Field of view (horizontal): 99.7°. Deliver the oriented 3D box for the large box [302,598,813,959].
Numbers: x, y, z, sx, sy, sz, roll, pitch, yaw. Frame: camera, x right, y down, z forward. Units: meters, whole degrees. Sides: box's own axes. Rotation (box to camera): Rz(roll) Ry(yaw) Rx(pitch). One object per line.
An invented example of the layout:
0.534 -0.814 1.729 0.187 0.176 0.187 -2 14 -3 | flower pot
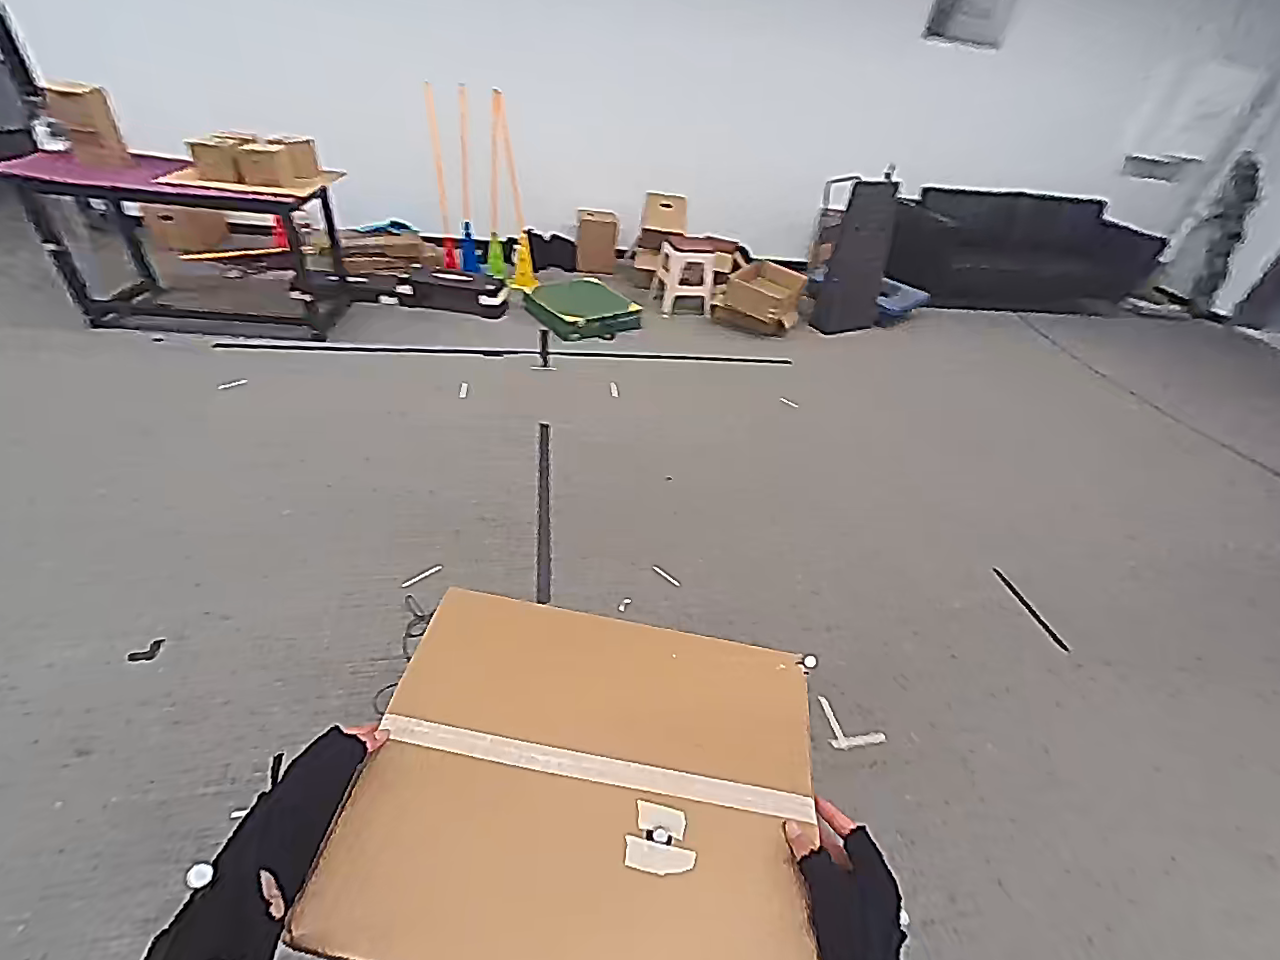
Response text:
-0.061 0.377 0.614 0.408 0.320 0.320 10 45 2 | large box
